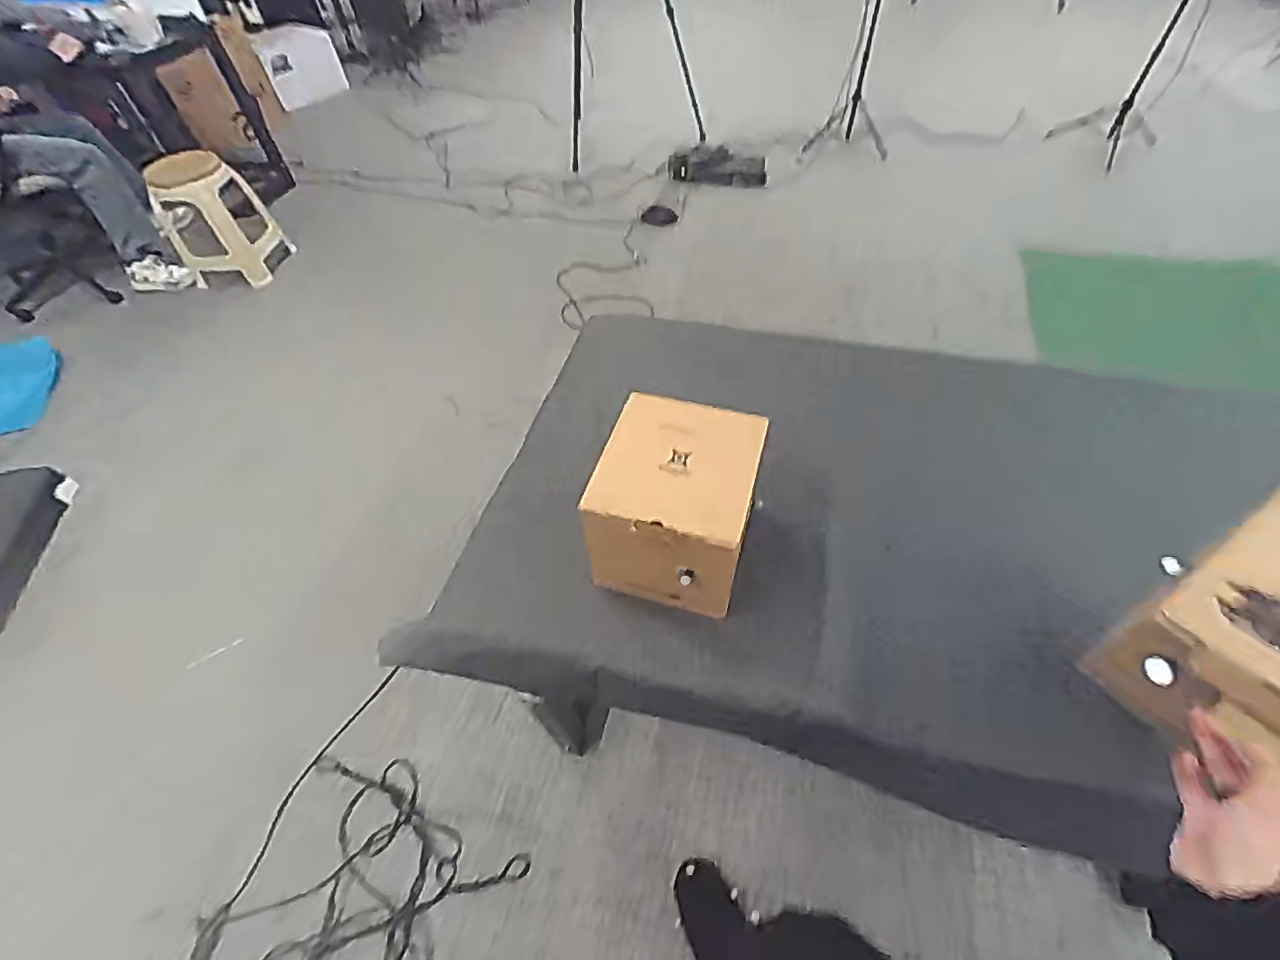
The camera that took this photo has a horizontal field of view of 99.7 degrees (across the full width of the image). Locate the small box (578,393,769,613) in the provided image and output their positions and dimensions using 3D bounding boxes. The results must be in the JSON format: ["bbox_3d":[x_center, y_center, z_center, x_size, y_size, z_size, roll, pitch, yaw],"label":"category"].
[{"bbox_3d":[0.043,0.030,0.627,0.168,0.176,0.179,13,53,12],"label":"small box"}]
